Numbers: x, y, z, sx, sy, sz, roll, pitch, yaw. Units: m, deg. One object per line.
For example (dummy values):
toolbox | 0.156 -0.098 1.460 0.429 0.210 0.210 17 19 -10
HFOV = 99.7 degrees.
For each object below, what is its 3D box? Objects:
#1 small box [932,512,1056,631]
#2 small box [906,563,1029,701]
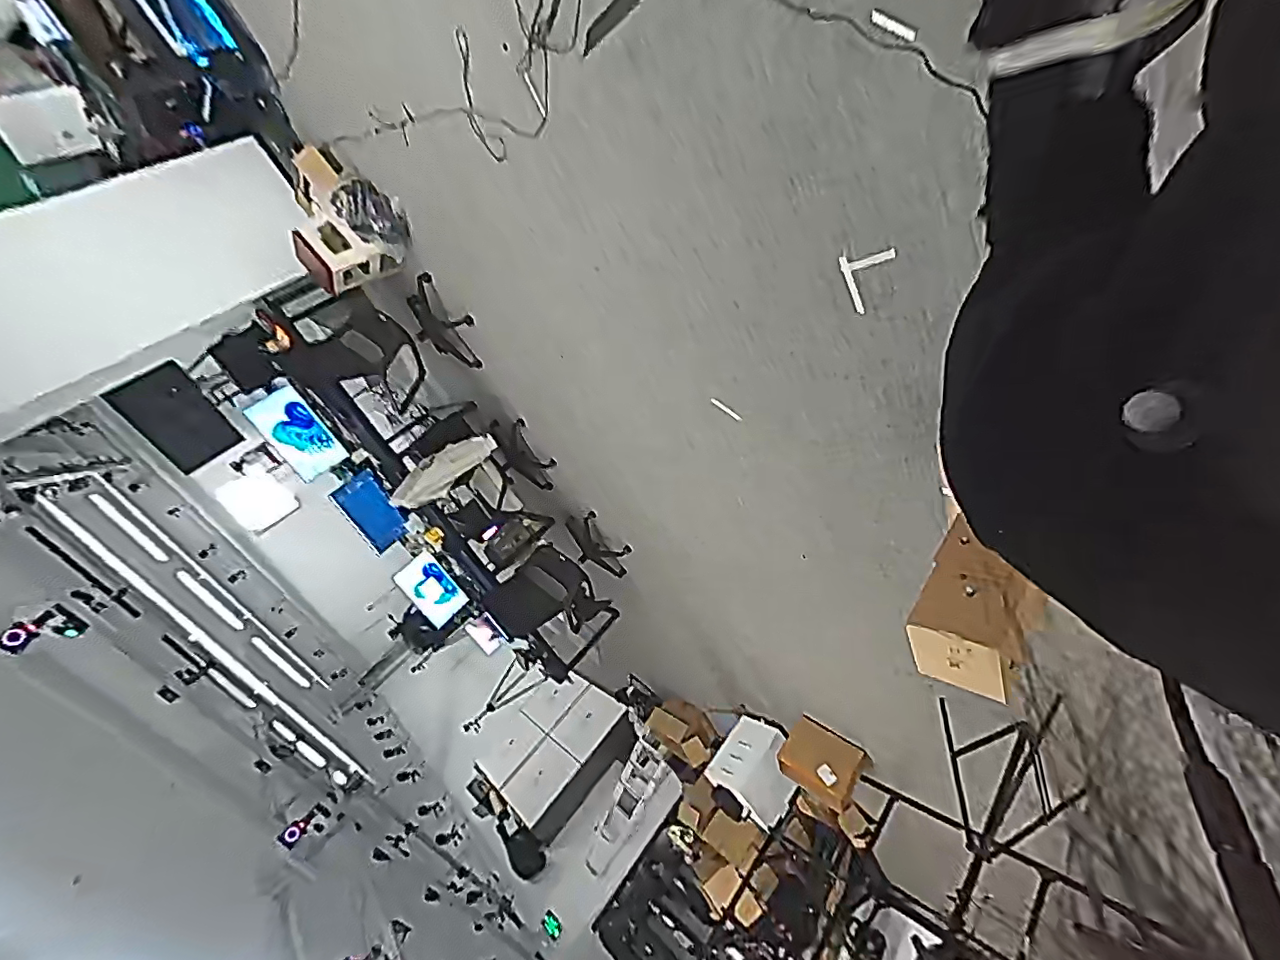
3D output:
small box | 0.765 0.187 1.166 0.179 0.176 0.168 8 136 49
small box | 0.668 0.301 1.095 0.168 0.176 0.179 11 138 48
